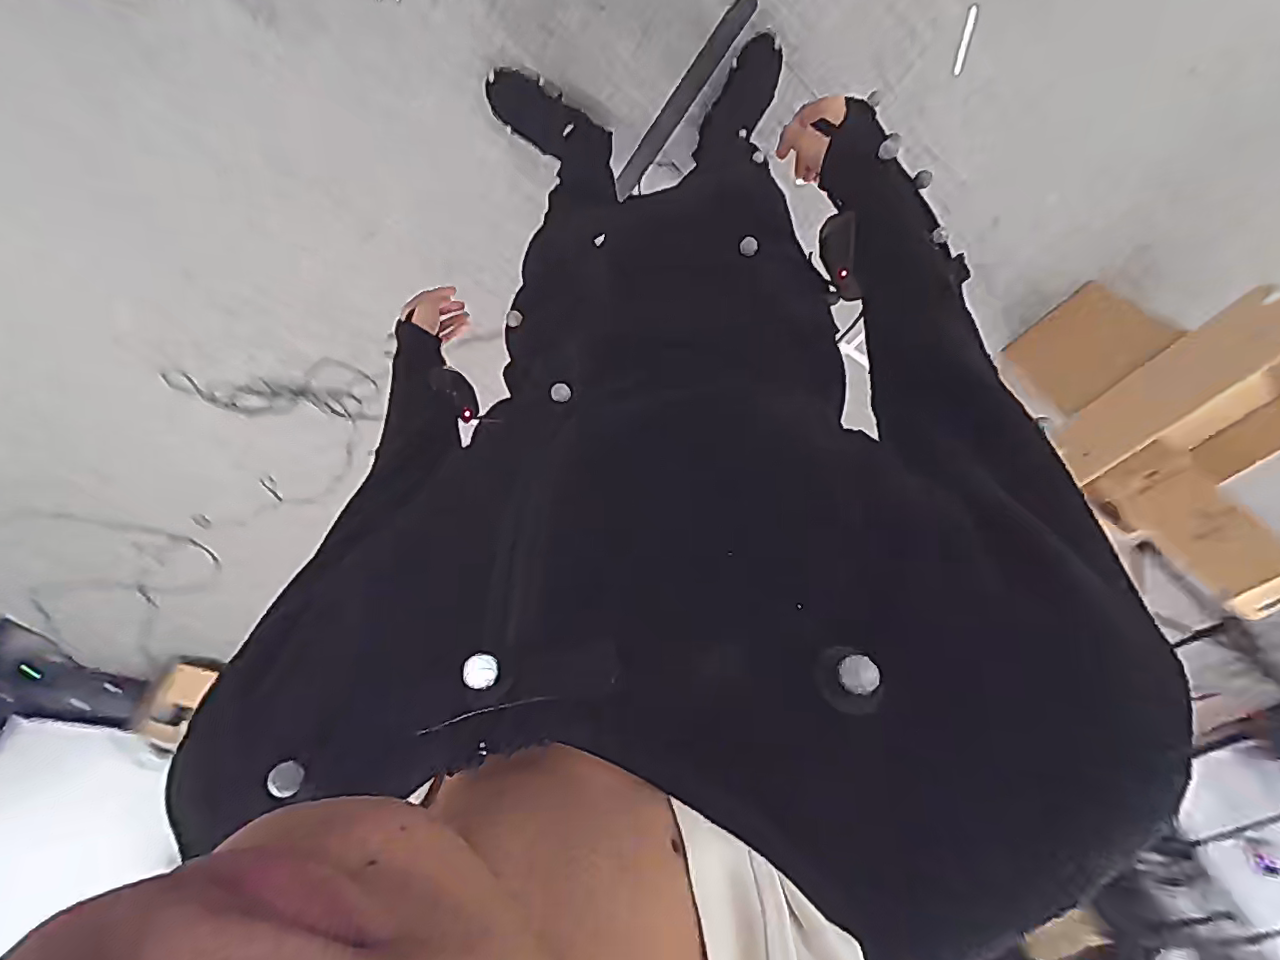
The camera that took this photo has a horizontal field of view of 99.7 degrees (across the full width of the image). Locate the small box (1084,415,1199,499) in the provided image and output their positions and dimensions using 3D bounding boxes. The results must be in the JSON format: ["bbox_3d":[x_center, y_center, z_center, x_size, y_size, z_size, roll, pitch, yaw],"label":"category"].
[{"bbox_3d":[1.380,-0.053,1.489,0.179,0.176,0.168,31,122,-32],"label":"small box"}]

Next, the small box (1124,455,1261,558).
[{"bbox_3d":[1.400,0.066,1.378,0.179,0.176,0.168,28,122,-30],"label":"small box"}]
